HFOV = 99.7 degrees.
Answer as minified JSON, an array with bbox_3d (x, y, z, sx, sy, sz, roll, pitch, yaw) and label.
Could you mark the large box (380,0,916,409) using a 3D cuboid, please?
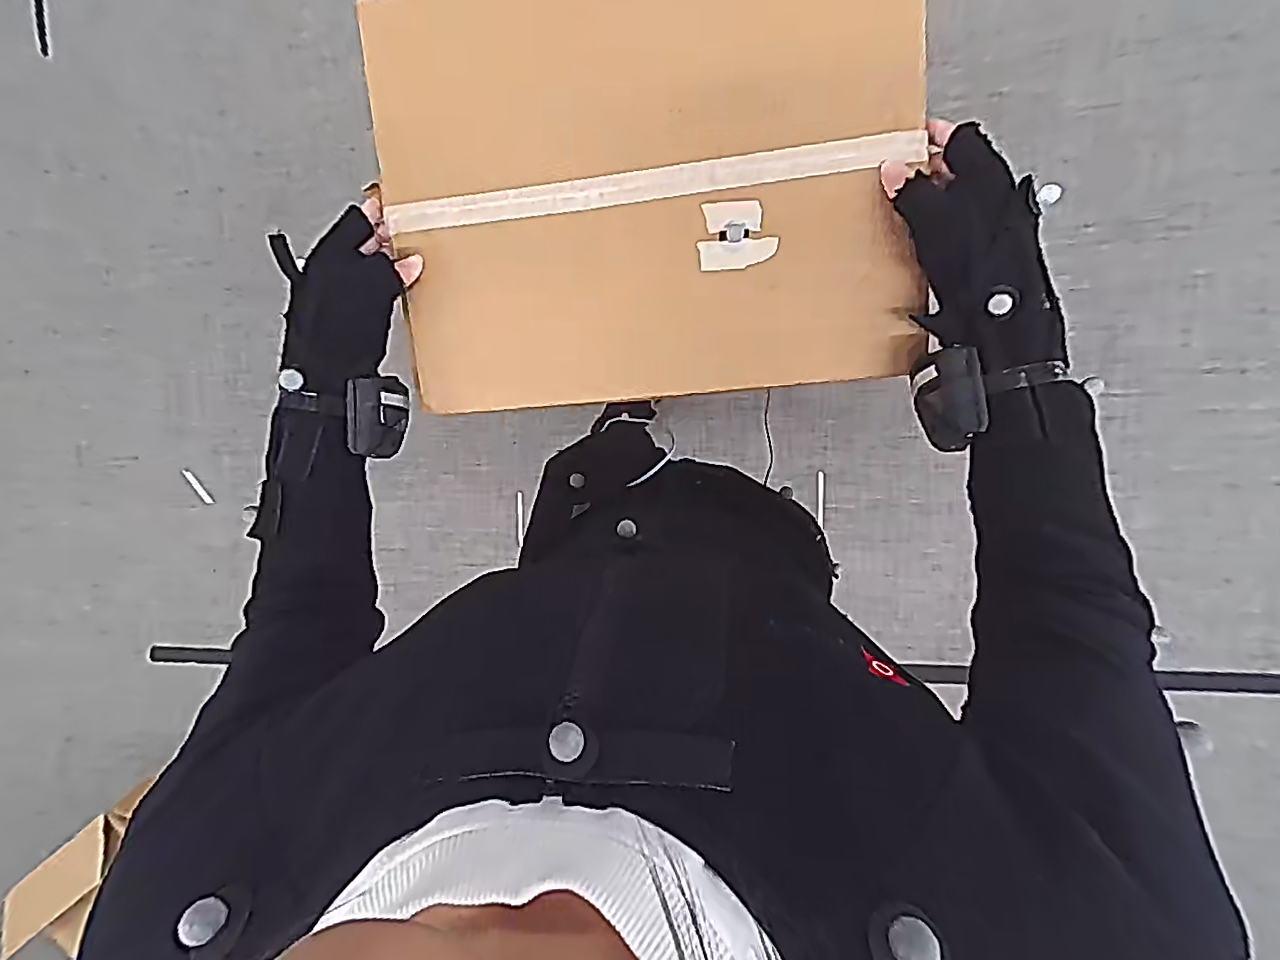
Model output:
[{"bbox_3d":[0.019,-0.253,0.569,0.408,0.320,0.320,-4,100,7],"label":"large box"}]
